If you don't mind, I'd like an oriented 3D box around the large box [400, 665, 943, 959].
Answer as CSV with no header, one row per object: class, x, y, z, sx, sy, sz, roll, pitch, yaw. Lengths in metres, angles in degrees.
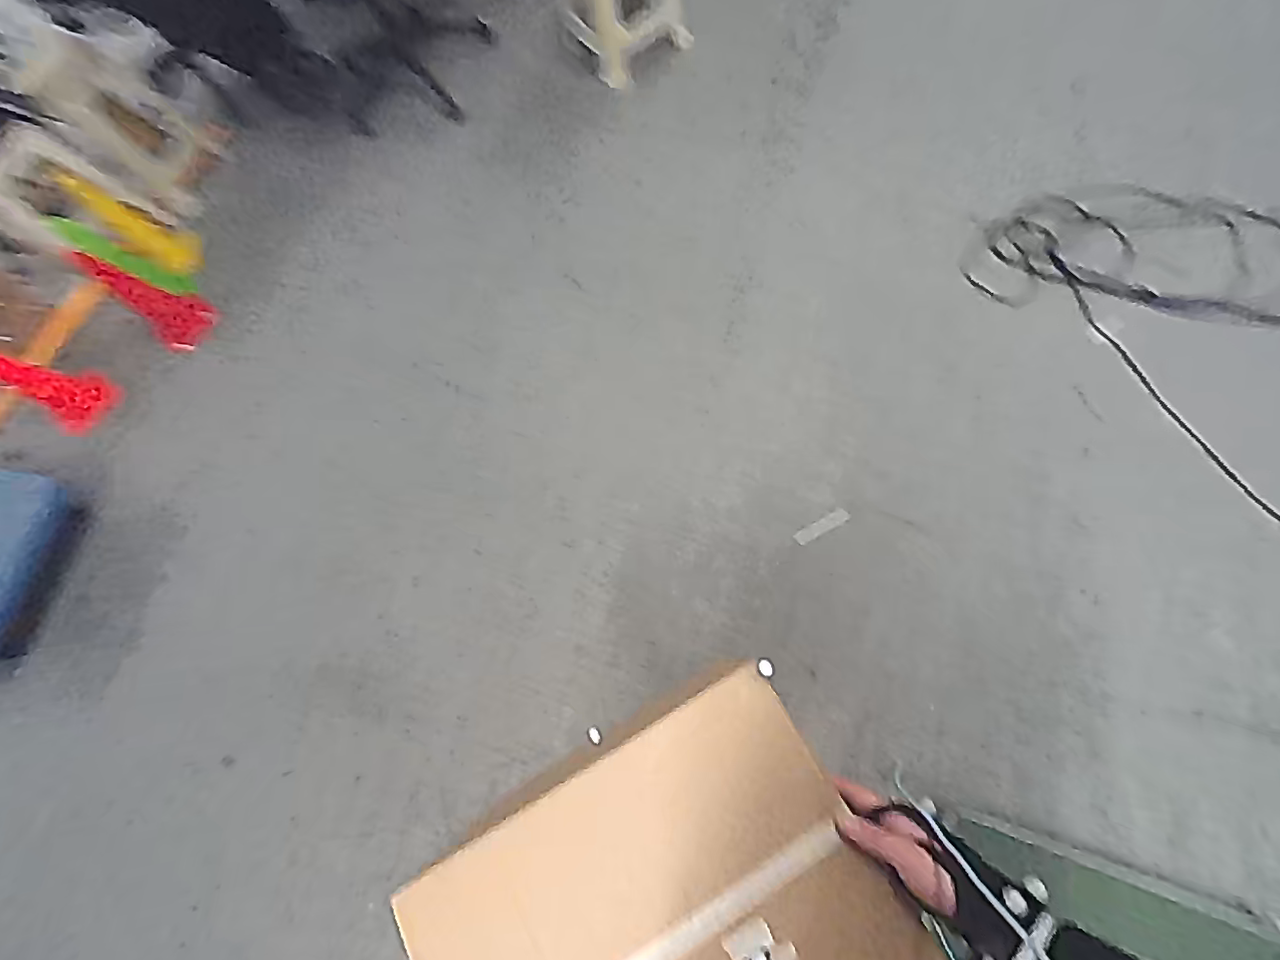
large box,0.028,0.460,0.620,0.408,0.320,0.320,-32,74,-8
